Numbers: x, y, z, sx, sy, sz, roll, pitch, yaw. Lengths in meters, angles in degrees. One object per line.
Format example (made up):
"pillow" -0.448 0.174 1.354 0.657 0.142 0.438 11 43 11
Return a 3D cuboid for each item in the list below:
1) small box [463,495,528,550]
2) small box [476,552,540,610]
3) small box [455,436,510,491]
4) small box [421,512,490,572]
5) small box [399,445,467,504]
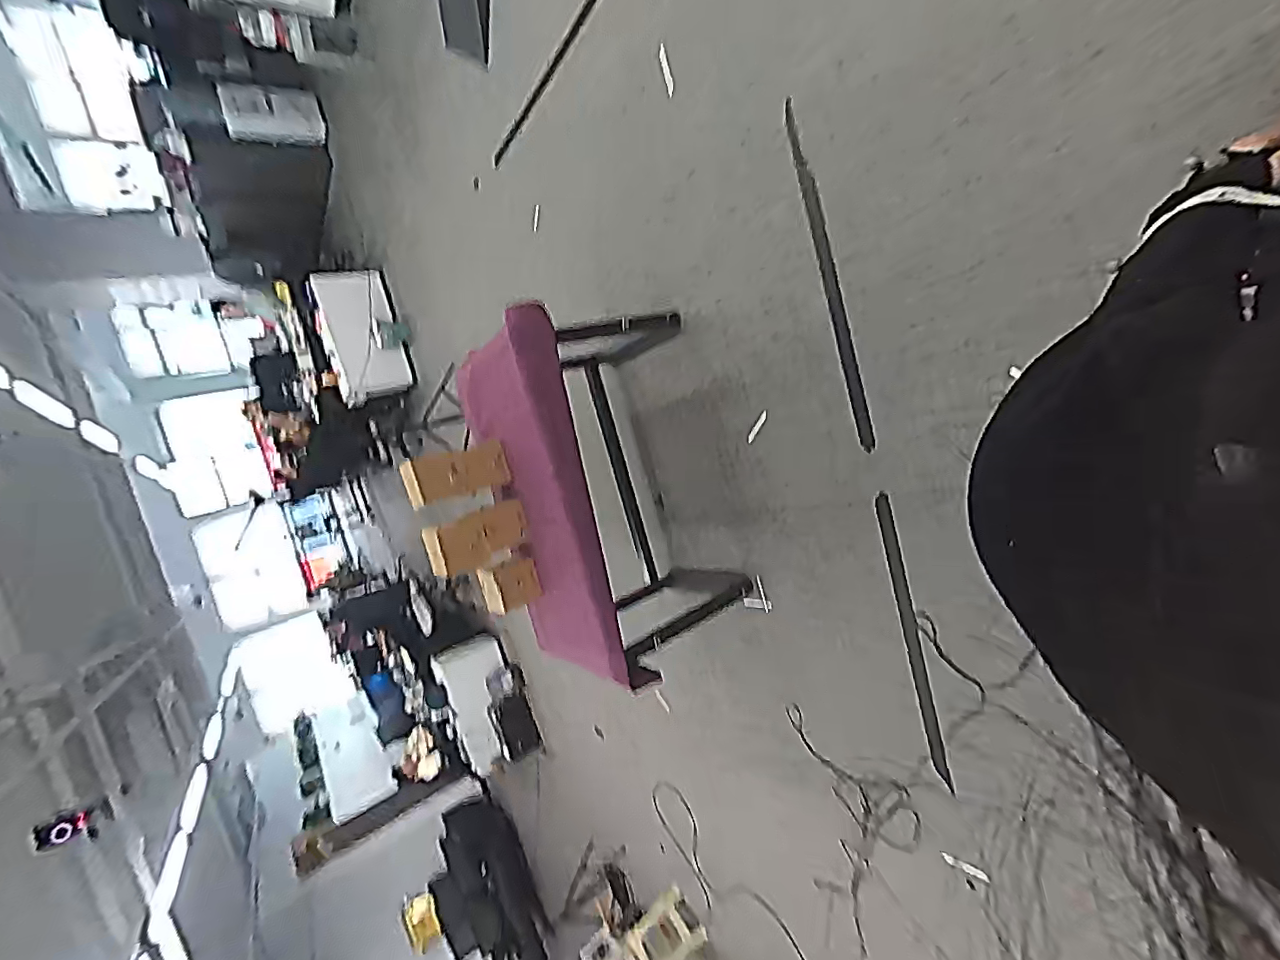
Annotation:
"small box" -0.540 0.159 2.045 0.179 0.176 0.168 -8 100 55
"small box" -0.508 0.387 2.110 0.179 0.176 0.168 -5 102 53
"small box" -0.615 -0.060 2.038 0.179 0.176 0.168 -7 101 54
"small box" -0.665 0.219 1.958 0.179 0.176 0.168 -4 103 53
"small box" -0.745 -0.019 1.949 0.179 0.176 0.168 -12 97 54
